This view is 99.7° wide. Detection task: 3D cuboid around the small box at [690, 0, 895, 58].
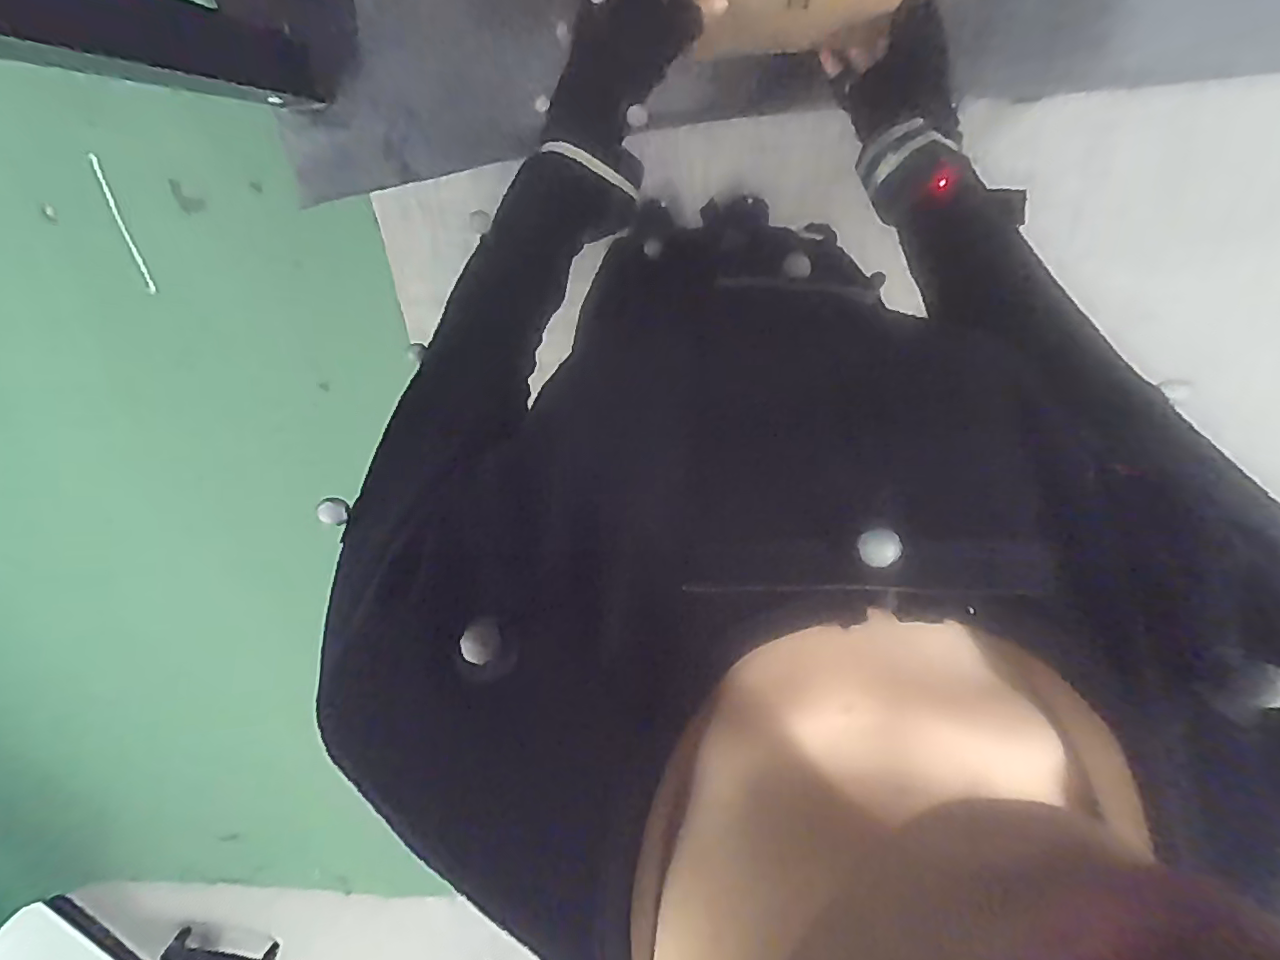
[{"bbox_3d":[0.117,-0.454,0.400,0.168,0.179,0.176,0,109,6],"label":"small box"}]
